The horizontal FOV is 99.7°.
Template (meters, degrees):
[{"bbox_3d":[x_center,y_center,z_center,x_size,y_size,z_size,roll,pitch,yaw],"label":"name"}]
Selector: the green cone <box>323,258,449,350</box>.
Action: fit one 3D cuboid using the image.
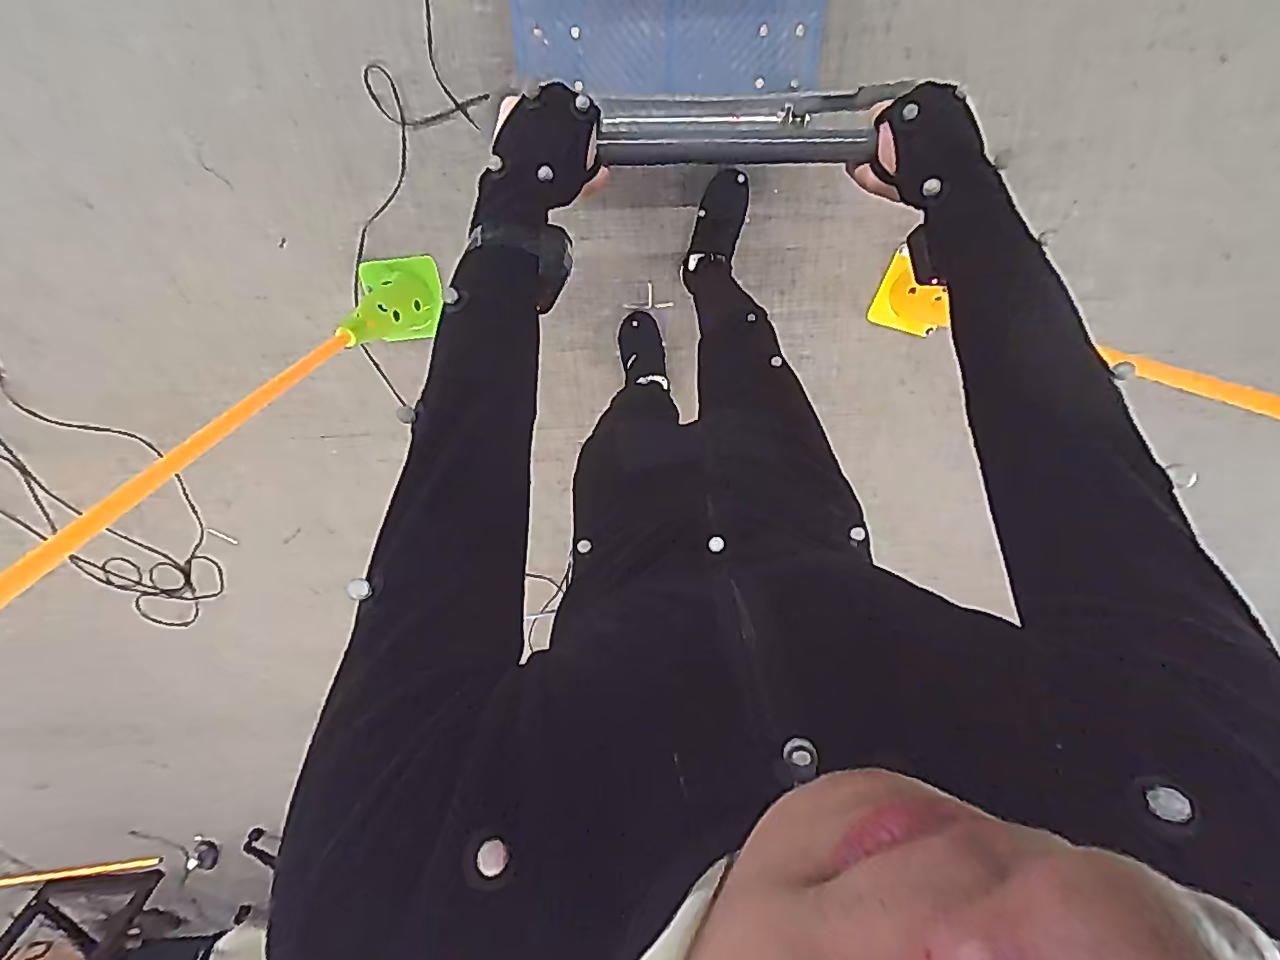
[{"bbox_3d":[-0.607,-0.371,1.233,0.202,0.368,0.200,-5,119,3],"label":"green cone"}]
